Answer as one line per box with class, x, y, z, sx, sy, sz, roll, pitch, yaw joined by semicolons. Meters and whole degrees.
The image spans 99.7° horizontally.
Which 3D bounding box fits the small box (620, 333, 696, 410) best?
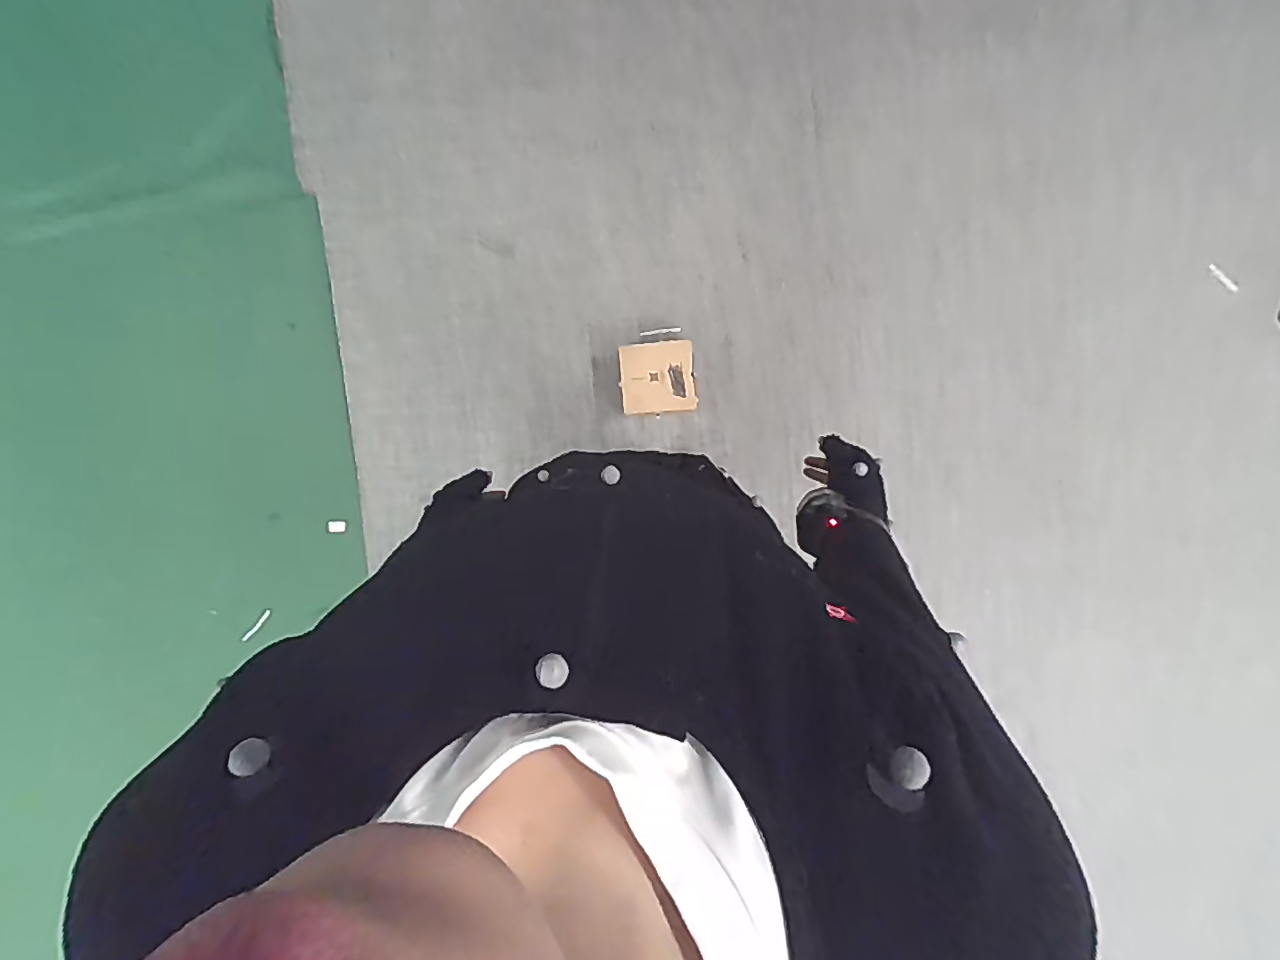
small box;0.046;-0.268;1.364;0.179;0.176;0.168;-4;93;4
